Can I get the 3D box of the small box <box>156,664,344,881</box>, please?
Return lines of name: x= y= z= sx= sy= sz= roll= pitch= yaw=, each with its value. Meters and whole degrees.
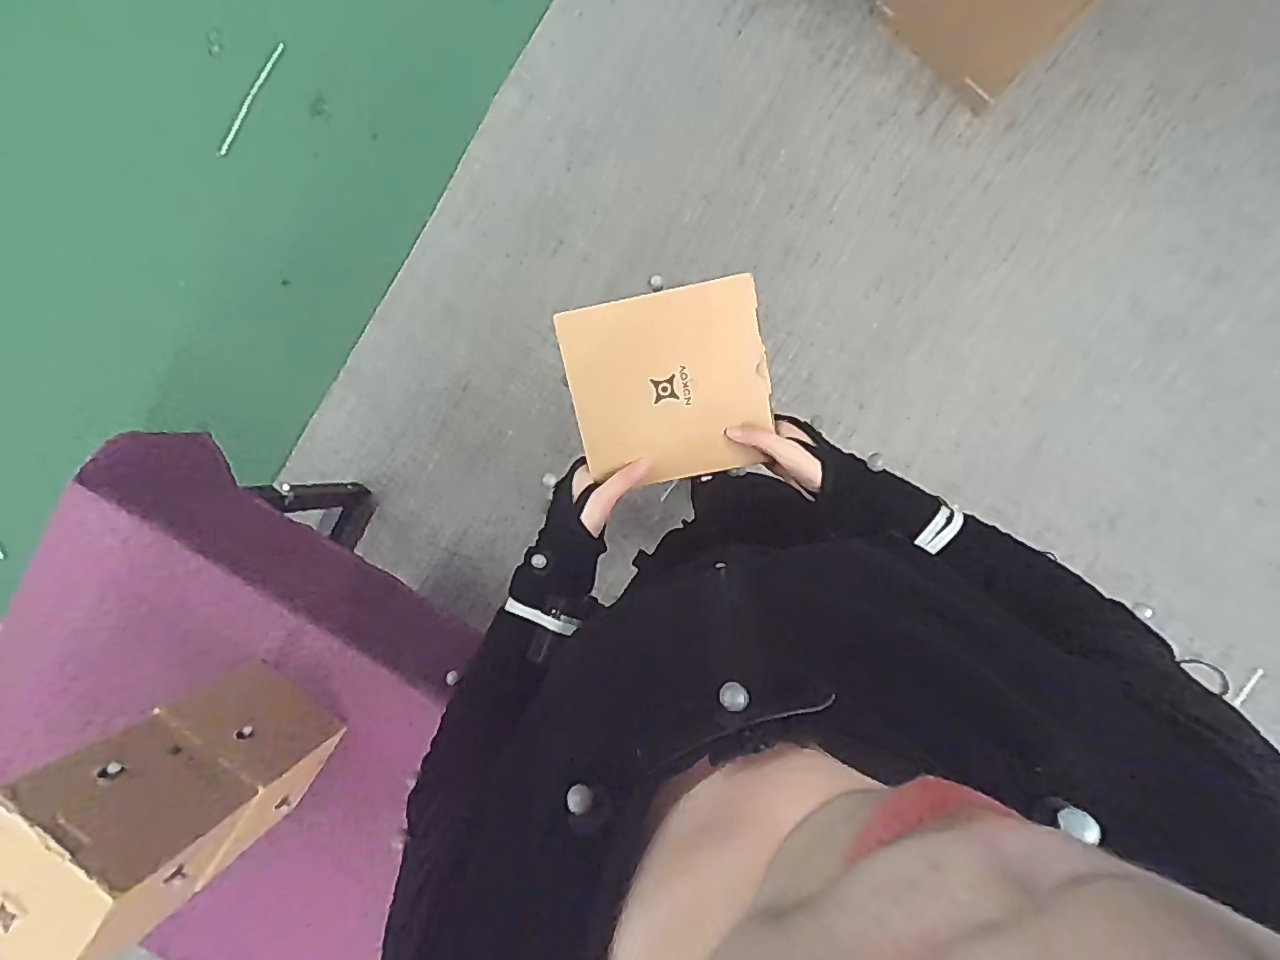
small box: x=-0.565 y=0.390 z=0.759 sx=0.179 sy=0.176 sz=0.168 roll=35 pitch=94 yaw=4

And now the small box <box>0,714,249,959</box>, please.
small box: x=-0.587 y=0.400 z=0.597 sx=0.168 sy=0.176 sz=0.179 roll=36 pitch=95 yaw=5

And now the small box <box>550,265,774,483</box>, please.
small box: x=0.023 y=-0.107 z=0.554 sx=0.179 sy=0.176 sz=0.168 roll=-11 pitch=104 yaw=2
